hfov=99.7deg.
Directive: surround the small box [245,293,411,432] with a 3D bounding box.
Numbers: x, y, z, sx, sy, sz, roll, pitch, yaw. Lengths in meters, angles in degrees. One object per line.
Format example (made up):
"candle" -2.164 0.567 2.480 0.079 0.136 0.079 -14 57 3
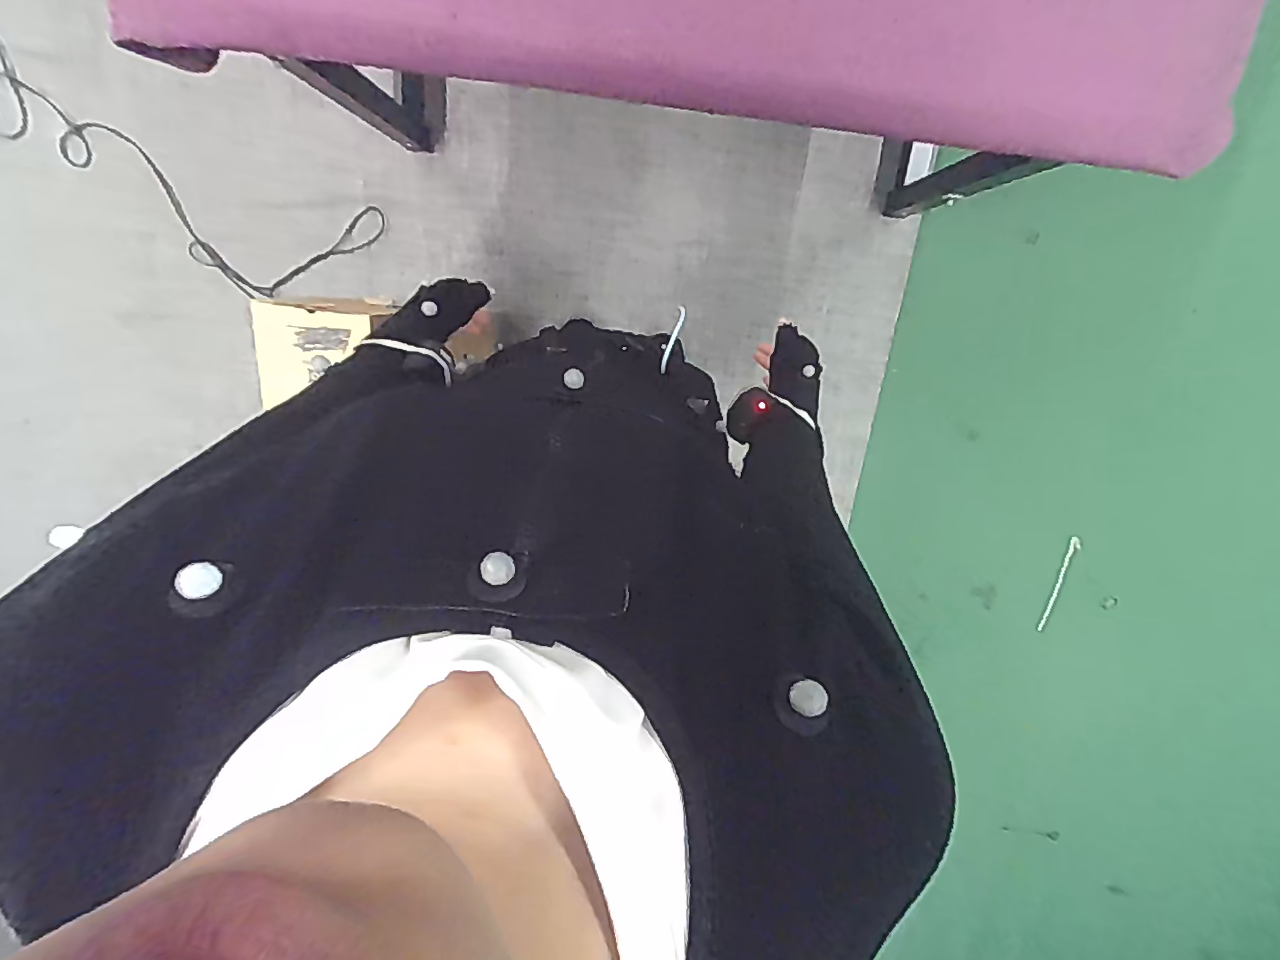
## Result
"small box" -0.472 -0.191 0.846 0.168 0.176 0.179 8 111 -3
